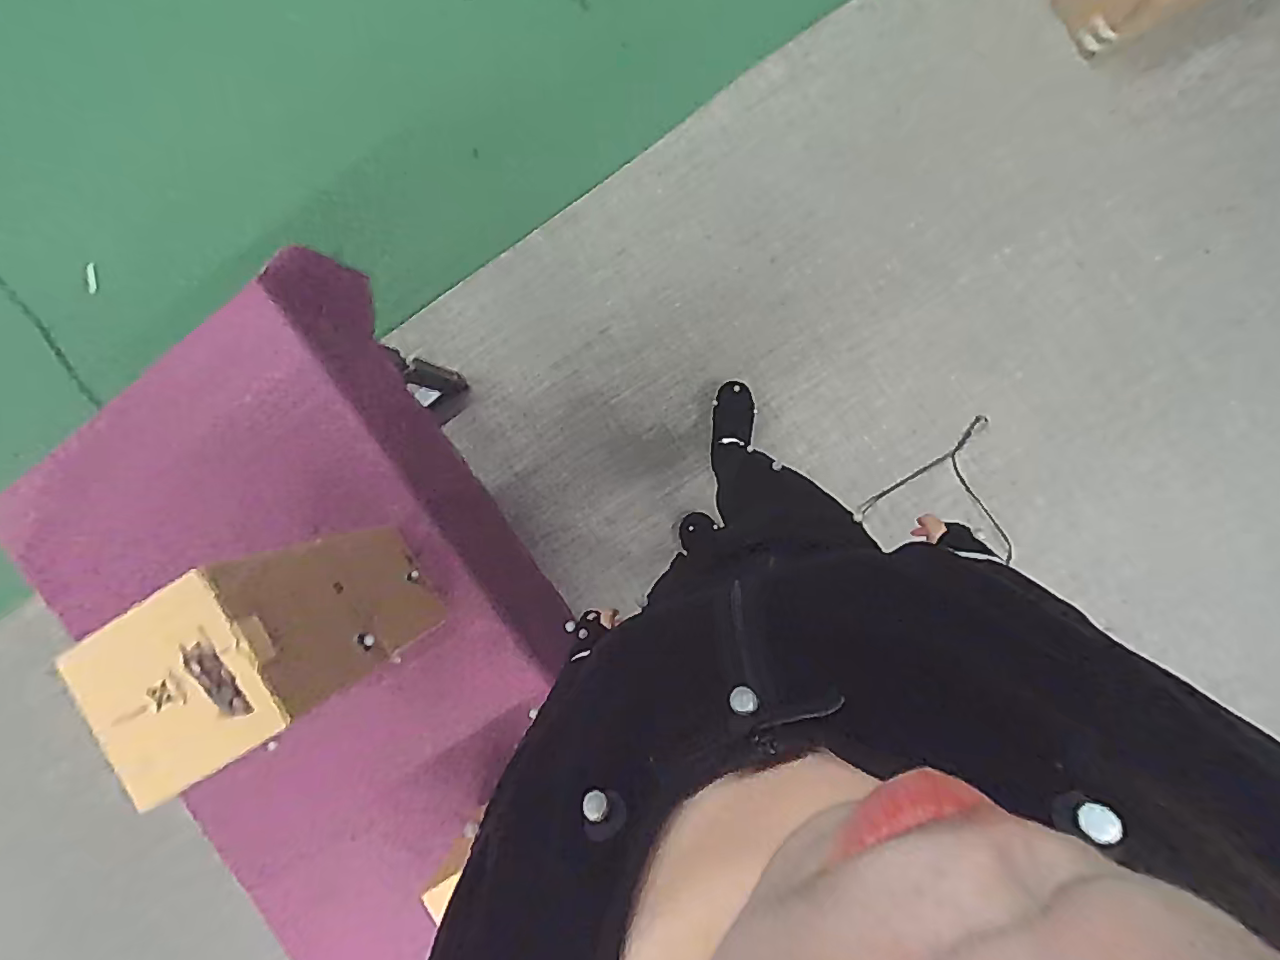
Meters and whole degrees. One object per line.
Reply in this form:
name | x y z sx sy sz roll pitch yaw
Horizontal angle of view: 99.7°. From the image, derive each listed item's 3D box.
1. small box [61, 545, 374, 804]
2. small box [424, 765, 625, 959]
small box | -0.418 0.185 0.573 0.179 0.176 0.168 -31 88 7
small box | -0.140 0.515 0.716 0.168 0.176 0.179 -34 87 7
